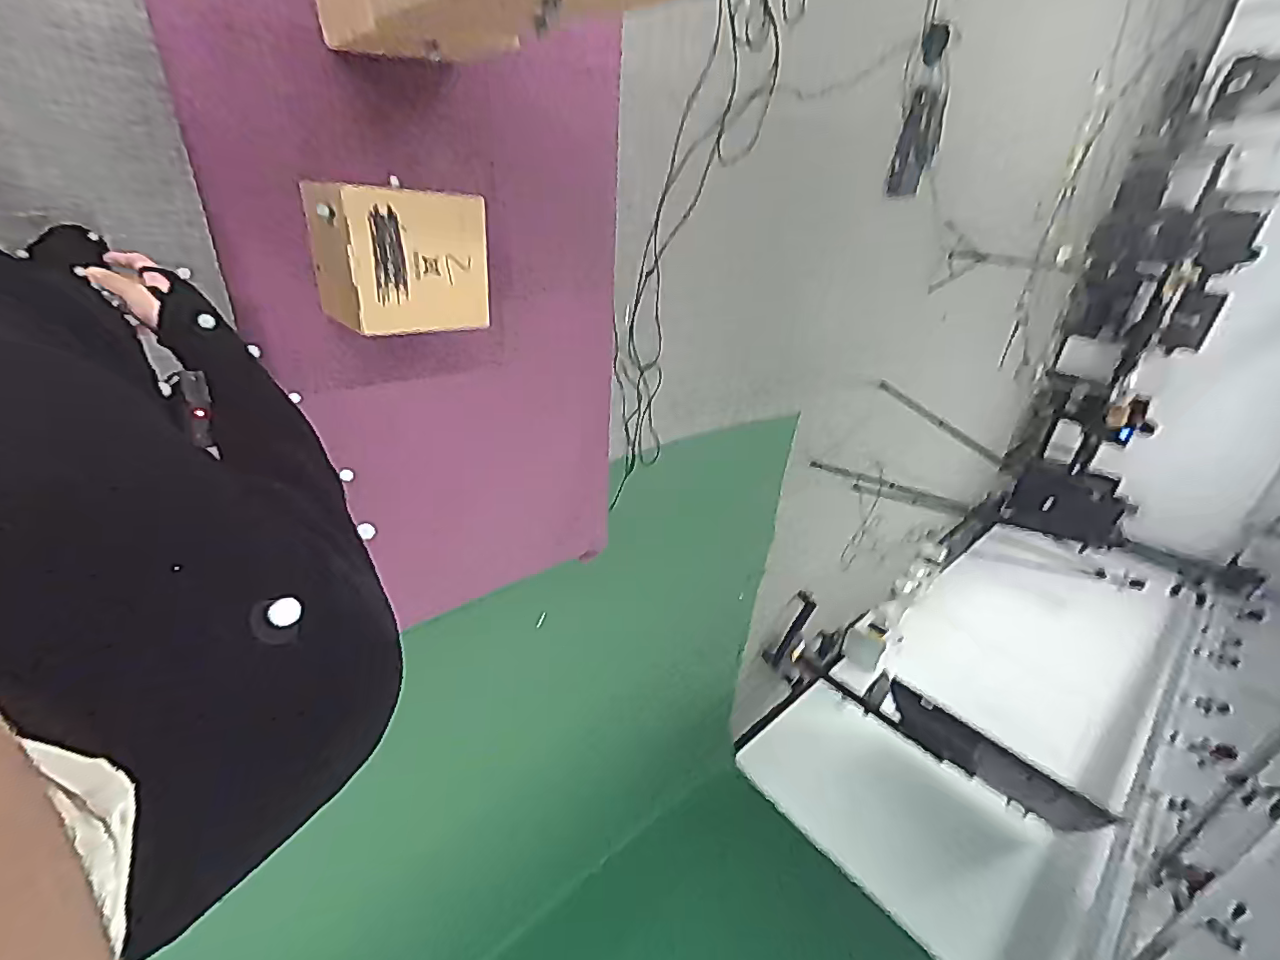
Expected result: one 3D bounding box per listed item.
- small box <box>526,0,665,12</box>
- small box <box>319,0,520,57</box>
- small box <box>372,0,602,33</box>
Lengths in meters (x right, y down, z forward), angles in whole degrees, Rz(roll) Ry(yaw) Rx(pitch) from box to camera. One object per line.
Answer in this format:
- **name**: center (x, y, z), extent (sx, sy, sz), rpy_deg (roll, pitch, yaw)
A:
- **small box**: center (-0.045, -0.474, 0.400), extent (0.179, 0.176, 0.168), rpy_deg (-23, 128, -35)
- **small box**: center (-0.260, -0.598, 0.615), extent (0.179, 0.176, 0.168), rpy_deg (-23, 128, -33)
- **small box**: center (-0.154, -0.539, 0.504), extent (0.179, 0.176, 0.168), rpy_deg (-25, 129, -33)
